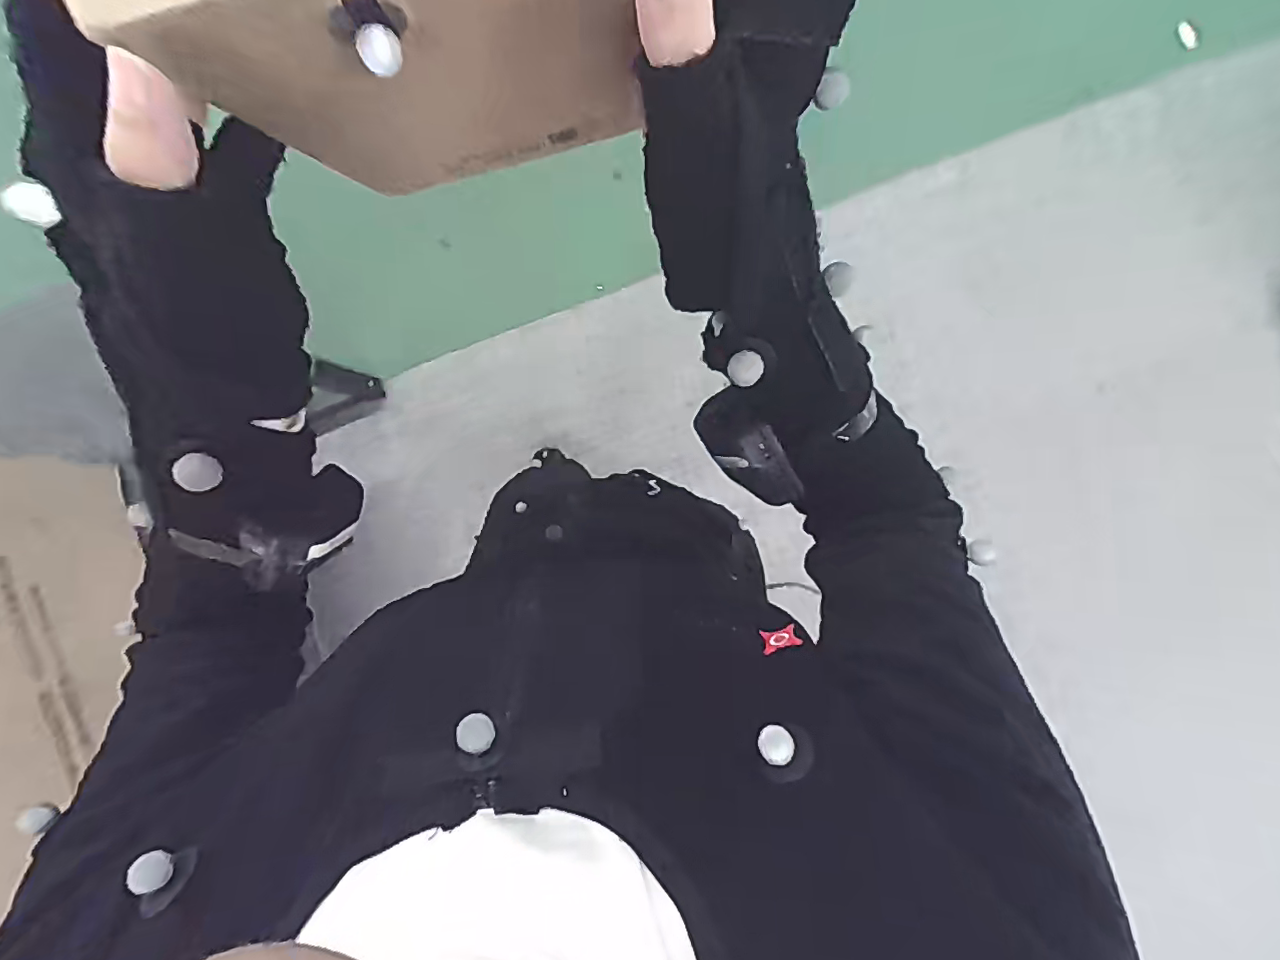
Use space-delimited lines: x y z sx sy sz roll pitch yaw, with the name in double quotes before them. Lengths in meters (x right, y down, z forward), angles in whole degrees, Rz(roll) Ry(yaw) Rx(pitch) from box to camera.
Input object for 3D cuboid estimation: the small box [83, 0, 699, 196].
"small box" -0.077 -0.231 0.190 0.168 0.176 0.179 -13 104 5
